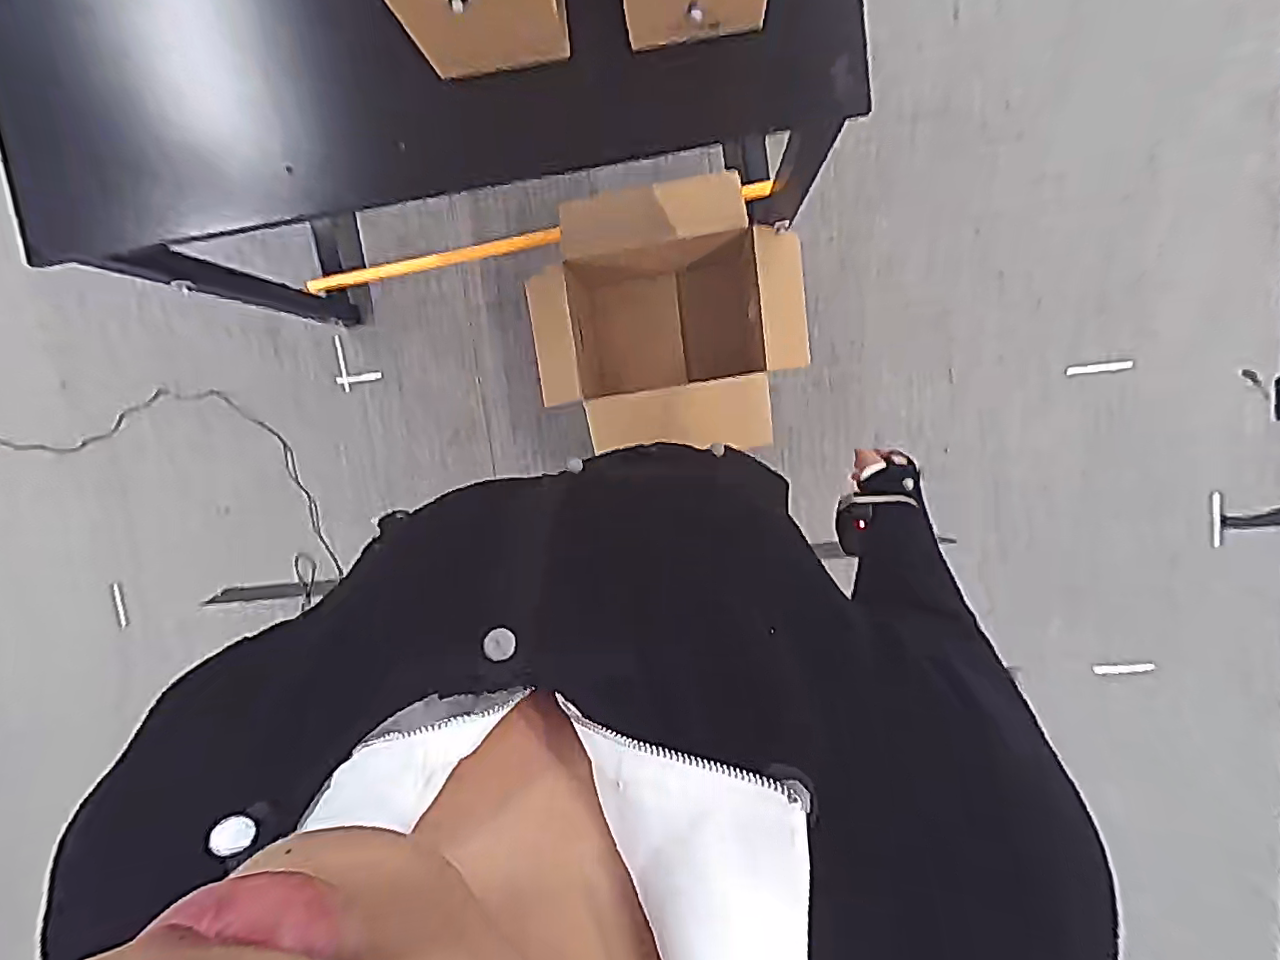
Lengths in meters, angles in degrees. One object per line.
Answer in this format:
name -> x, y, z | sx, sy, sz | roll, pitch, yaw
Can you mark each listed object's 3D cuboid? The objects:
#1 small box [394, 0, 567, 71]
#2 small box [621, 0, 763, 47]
small box -> -0.192, -0.604, 0.611 | 0.179, 0.176, 0.168 | -5, 97, 5
small box -> 0.051, -0.626, 0.585 | 0.168, 0.176, 0.179 | -5, 96, 7
